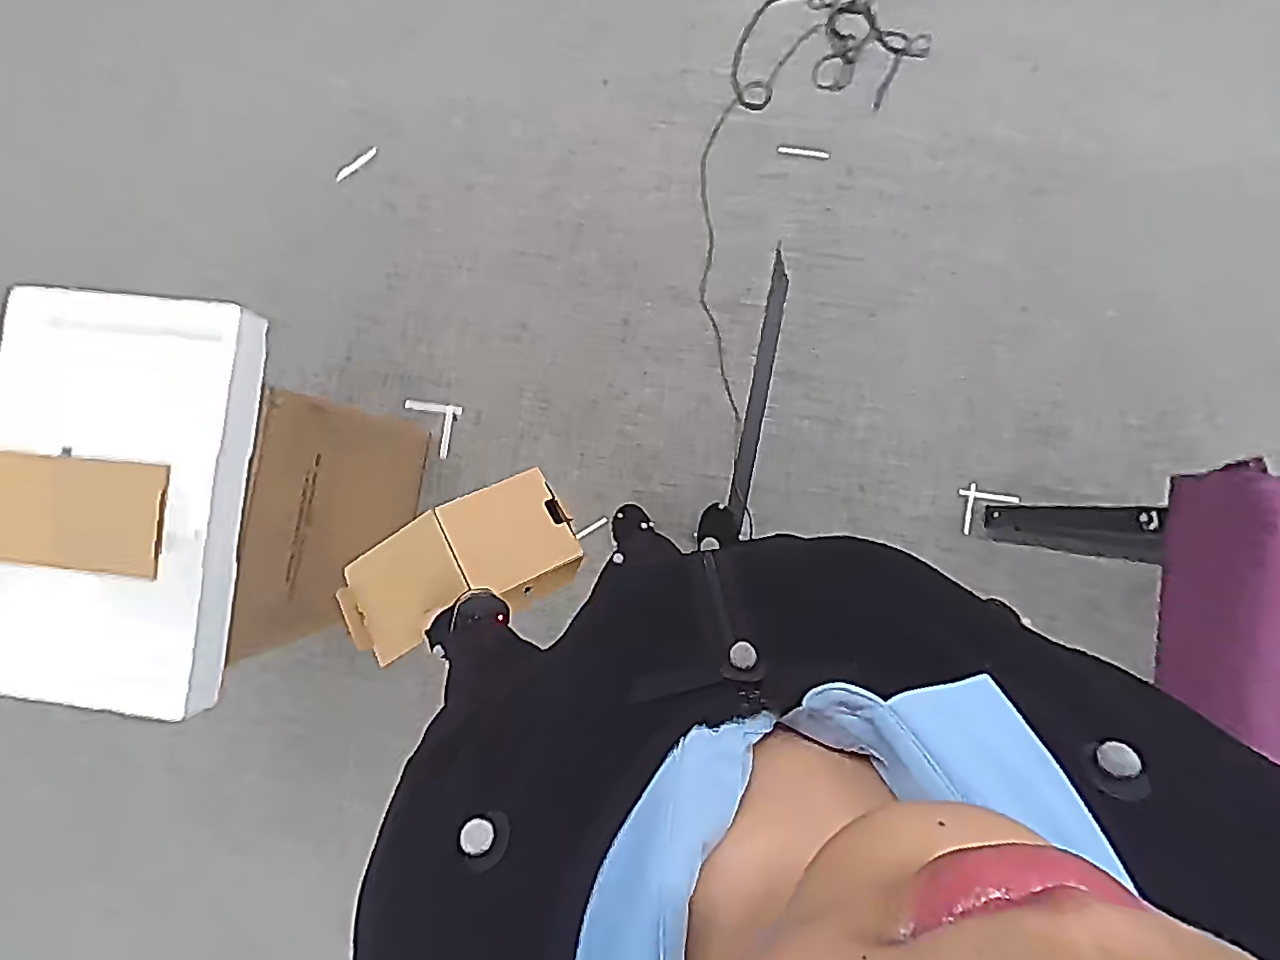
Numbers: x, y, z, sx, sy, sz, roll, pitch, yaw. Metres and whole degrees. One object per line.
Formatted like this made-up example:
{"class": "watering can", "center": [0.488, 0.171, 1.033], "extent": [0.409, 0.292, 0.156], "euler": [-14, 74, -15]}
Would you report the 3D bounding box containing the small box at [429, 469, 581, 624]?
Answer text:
{"class": "small box", "center": [-0.215, 0.114, 0.872], "extent": [0.179, 0.176, 0.168], "euler": [-24, 74, -23]}
